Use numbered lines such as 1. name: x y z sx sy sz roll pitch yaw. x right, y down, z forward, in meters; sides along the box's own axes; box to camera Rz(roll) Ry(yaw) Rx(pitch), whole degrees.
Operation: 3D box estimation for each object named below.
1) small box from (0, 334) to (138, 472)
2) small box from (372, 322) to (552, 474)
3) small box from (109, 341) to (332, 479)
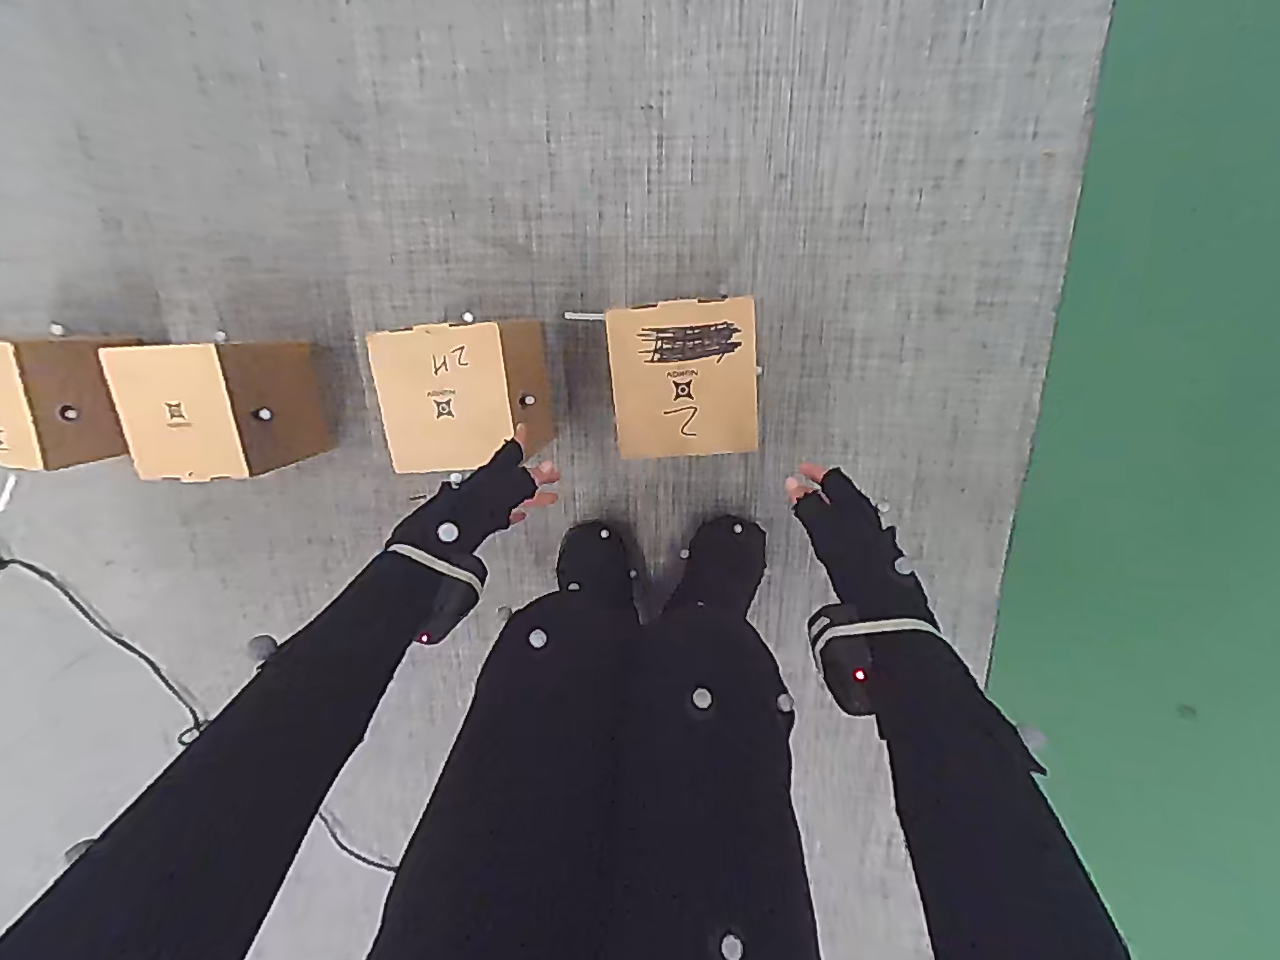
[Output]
1. small box: -0.871 -0.122 0.804 0.168 0.176 0.179 4 106 5
2. small box: -0.225 -0.117 0.733 0.168 0.176 0.179 -3 106 6
3. small box: -0.582 -0.108 0.777 0.168 0.176 0.179 -1 107 7
